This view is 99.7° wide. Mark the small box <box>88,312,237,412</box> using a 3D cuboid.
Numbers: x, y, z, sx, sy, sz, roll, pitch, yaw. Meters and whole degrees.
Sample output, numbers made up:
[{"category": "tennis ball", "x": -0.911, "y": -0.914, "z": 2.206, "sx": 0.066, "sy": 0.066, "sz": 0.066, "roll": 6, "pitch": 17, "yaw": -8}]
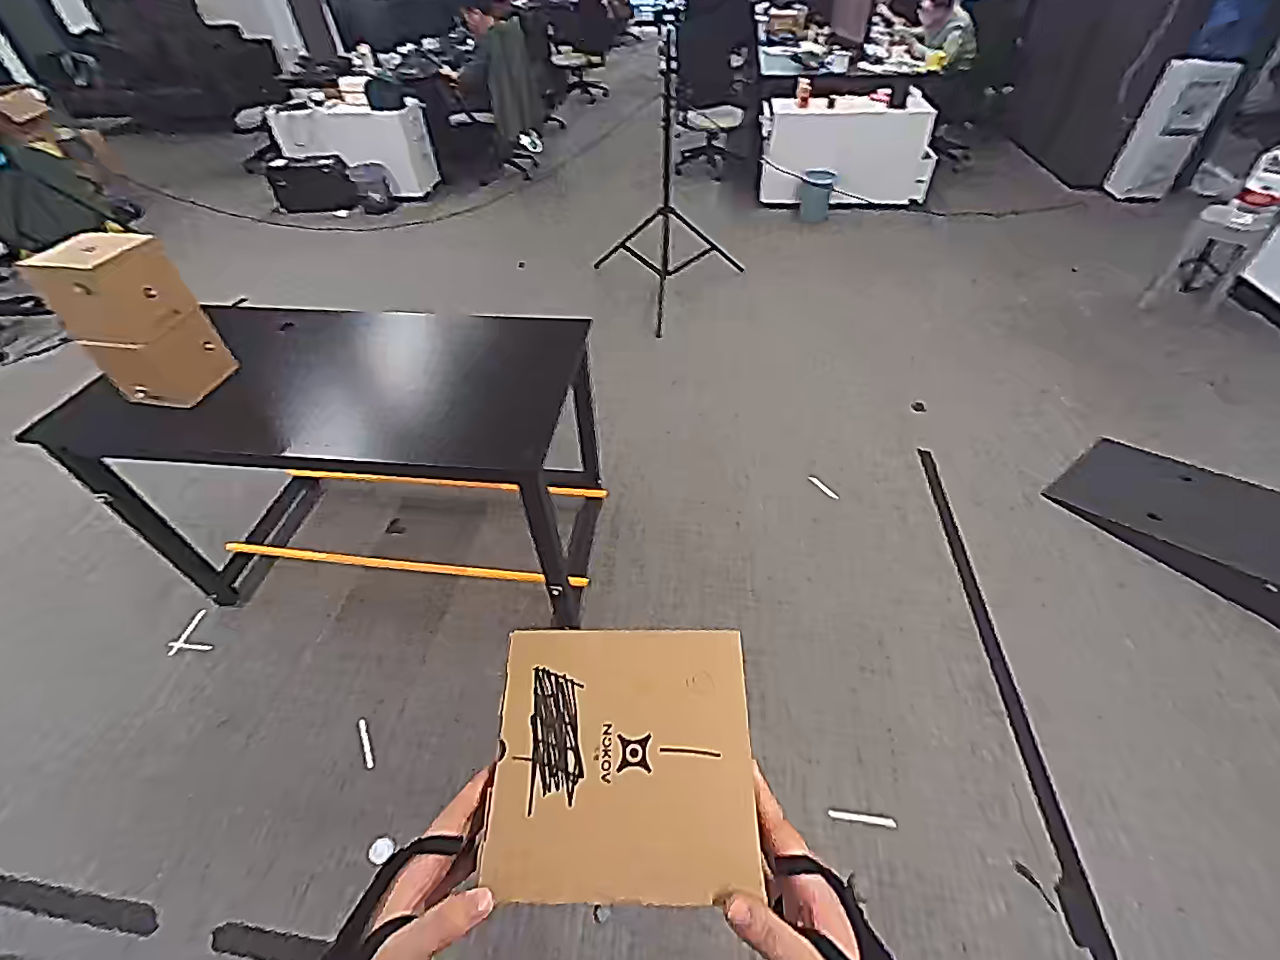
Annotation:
[{"category": "small box", "x": -1.109, "y": -0.285, "z": 1.280, "sx": 0.168, "sy": 0.176, "sz": 0.179, "roll": 5, "pitch": 47, "yaw": 9}]

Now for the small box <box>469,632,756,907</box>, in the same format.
[{"category": "small box", "x": -0.014, "y": 0.228, "z": 0.430, "sx": 0.179, "sy": 0.176, "sz": 0.168, "roll": -1, "pitch": 57, "yaw": 1}]

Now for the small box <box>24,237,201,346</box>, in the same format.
[{"category": "small box", "x": -1.118, "y": -0.405, "z": 1.167, "sx": 0.179, "sy": 0.176, "sz": 0.168, "roll": 5, "pitch": 45, "yaw": 9}]
